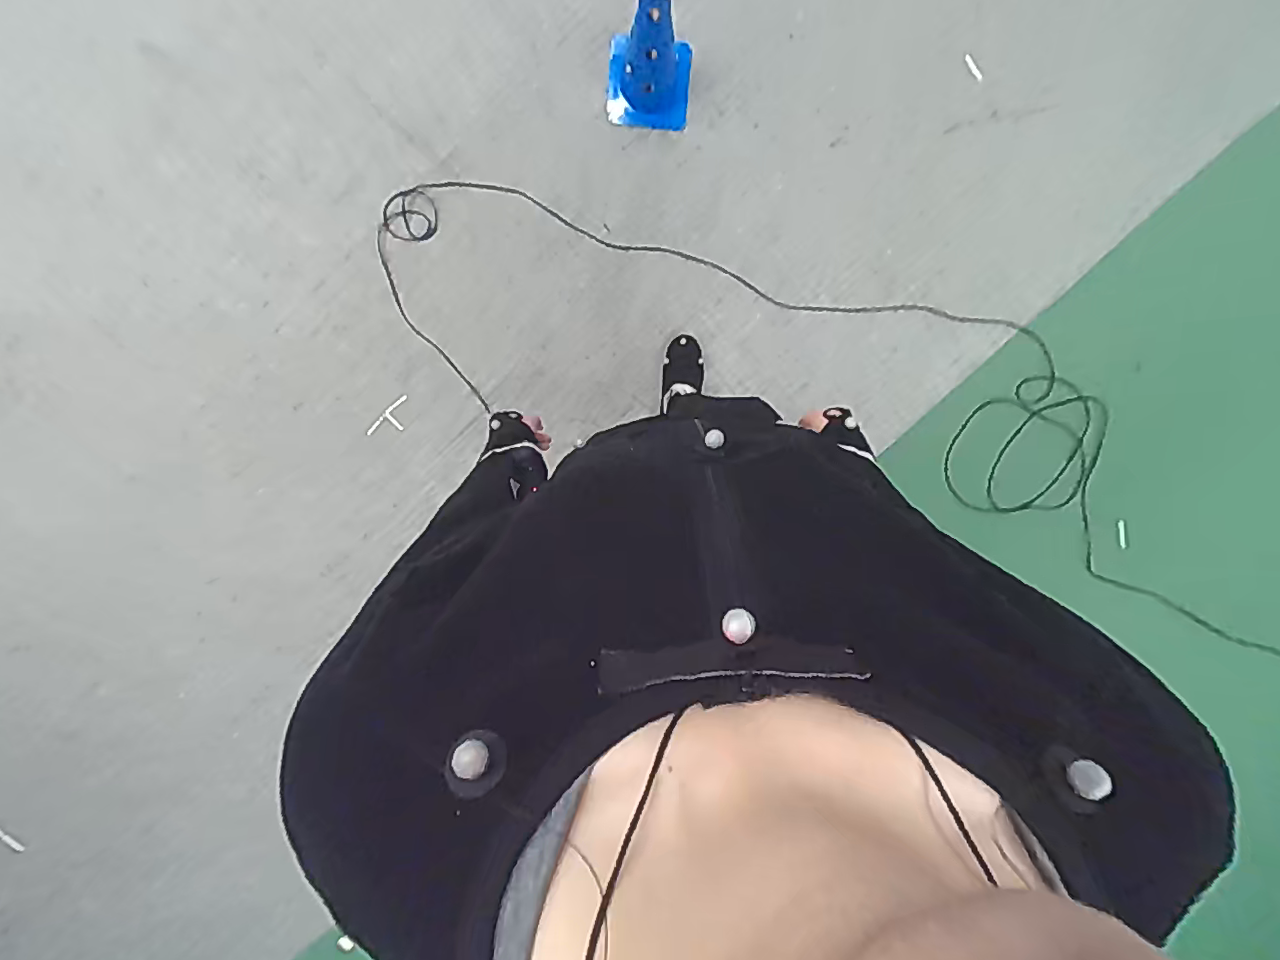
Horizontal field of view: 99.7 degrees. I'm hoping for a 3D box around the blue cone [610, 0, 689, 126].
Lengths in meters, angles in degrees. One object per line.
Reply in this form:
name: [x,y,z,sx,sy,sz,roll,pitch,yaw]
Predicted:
blue cone: [0.026,-0.938,1.146,0.192,0.380,0.193,3,98,-2]
